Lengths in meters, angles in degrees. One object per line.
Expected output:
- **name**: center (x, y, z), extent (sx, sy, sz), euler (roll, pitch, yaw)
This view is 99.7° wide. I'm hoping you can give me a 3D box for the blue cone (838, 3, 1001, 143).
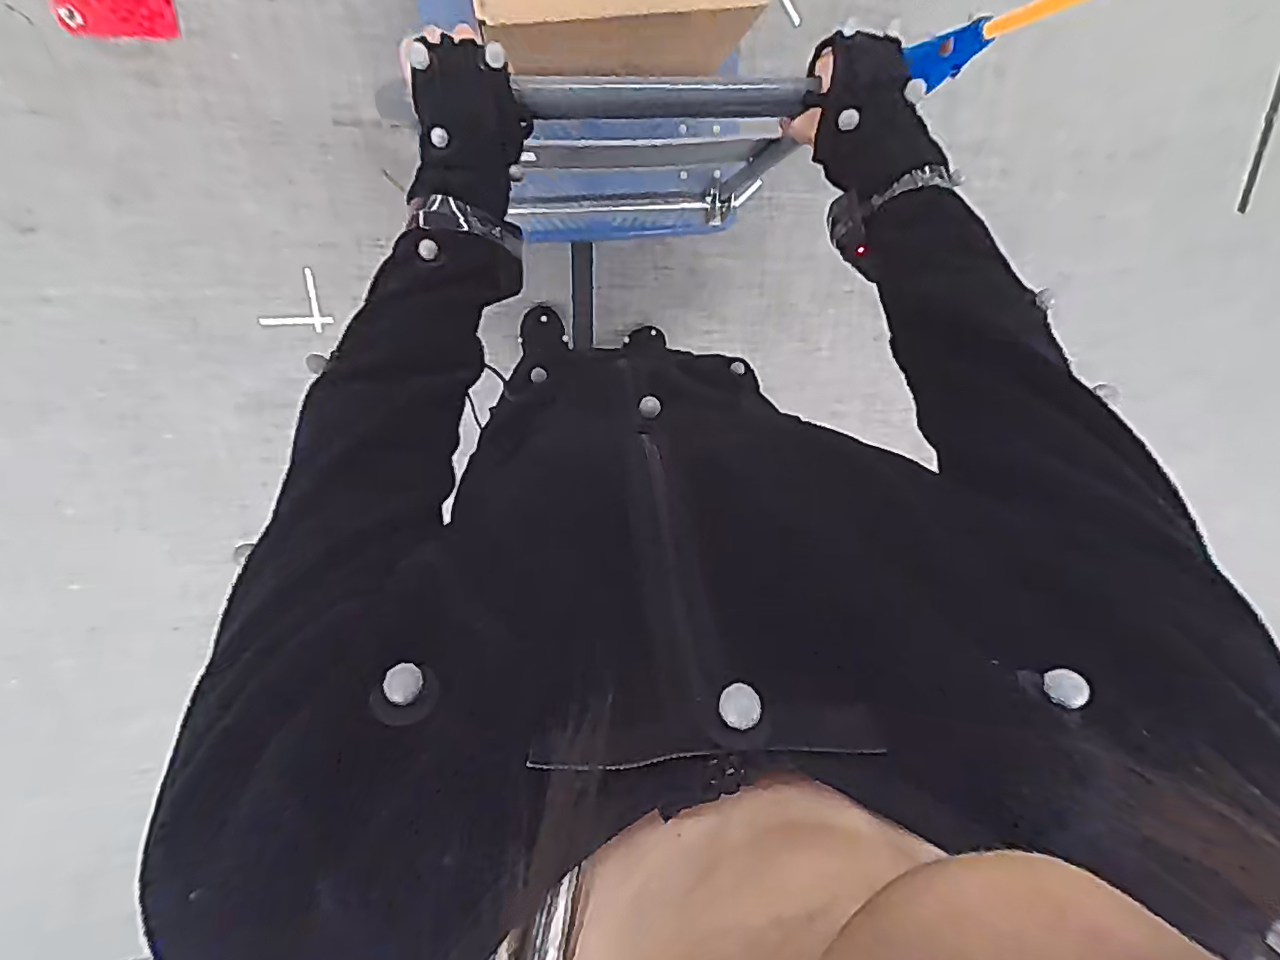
- **blue cone**: center (0.575, -0.844, 1.103), extent (0.193, 0.380, 0.192), euler (-7, 109, -8)
